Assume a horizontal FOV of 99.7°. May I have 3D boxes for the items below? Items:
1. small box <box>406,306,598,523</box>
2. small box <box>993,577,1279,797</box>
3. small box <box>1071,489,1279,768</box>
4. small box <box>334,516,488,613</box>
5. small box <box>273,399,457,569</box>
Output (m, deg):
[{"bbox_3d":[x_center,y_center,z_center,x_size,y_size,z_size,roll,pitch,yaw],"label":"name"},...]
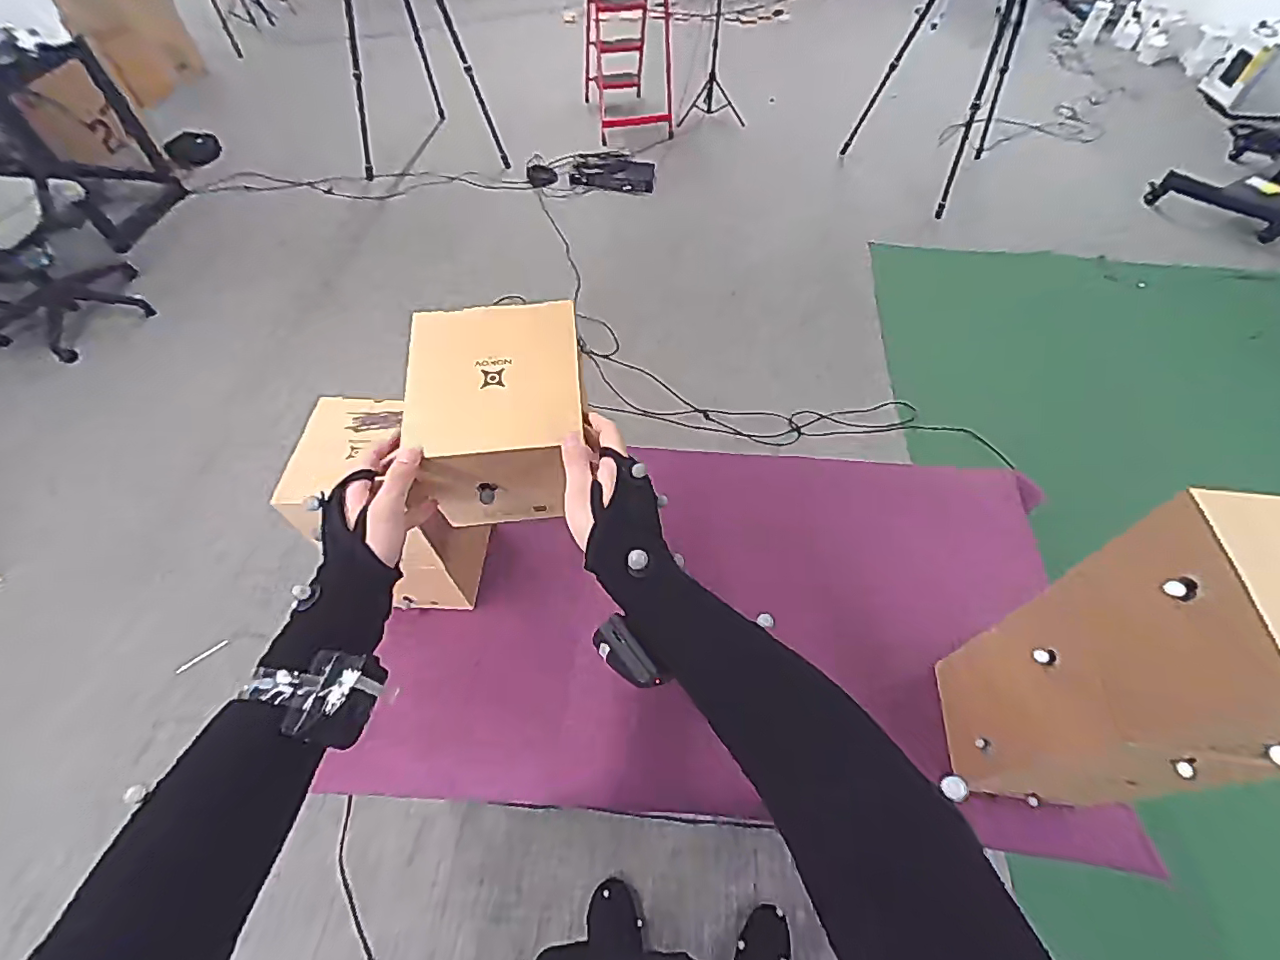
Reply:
[{"bbox_3d":[-0.137,-0.060,0.592,0.168,0.176,0.179,-5,63,-3],"label":"small box"},{"bbox_3d":[0.531,0.232,0.602,0.168,0.176,0.179,6,54,6],"label":"small box"},{"bbox_3d":[0.530,0.132,0.471,0.168,0.176,0.179,6,55,5],"label":"small box"},{"bbox_3d":[-0.361,0.103,0.895,0.168,0.176,0.179,2,56,1],"label":"small box"},{"bbox_3d":[-0.360,0.008,0.762,0.168,0.176,0.179,1,56,2],"label":"small box"}]
